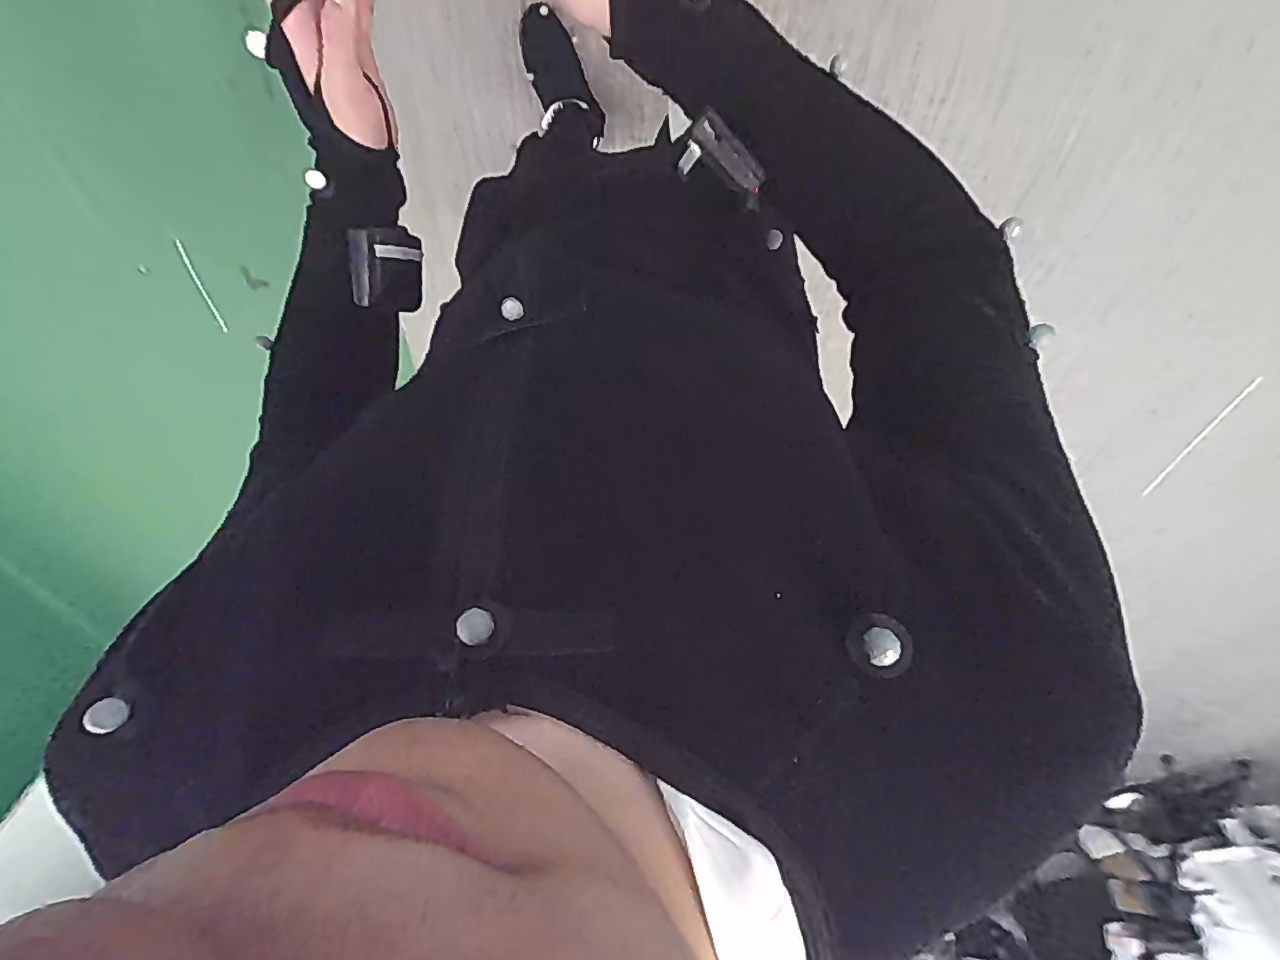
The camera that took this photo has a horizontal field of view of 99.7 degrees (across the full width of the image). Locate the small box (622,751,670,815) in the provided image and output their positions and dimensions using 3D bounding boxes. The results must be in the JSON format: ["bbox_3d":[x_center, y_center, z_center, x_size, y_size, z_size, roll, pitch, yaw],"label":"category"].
[{"bbox_3d":[0.023,1.184,2.116,0.168,0.176,0.179,7,136,5],"label":"small box"}]
